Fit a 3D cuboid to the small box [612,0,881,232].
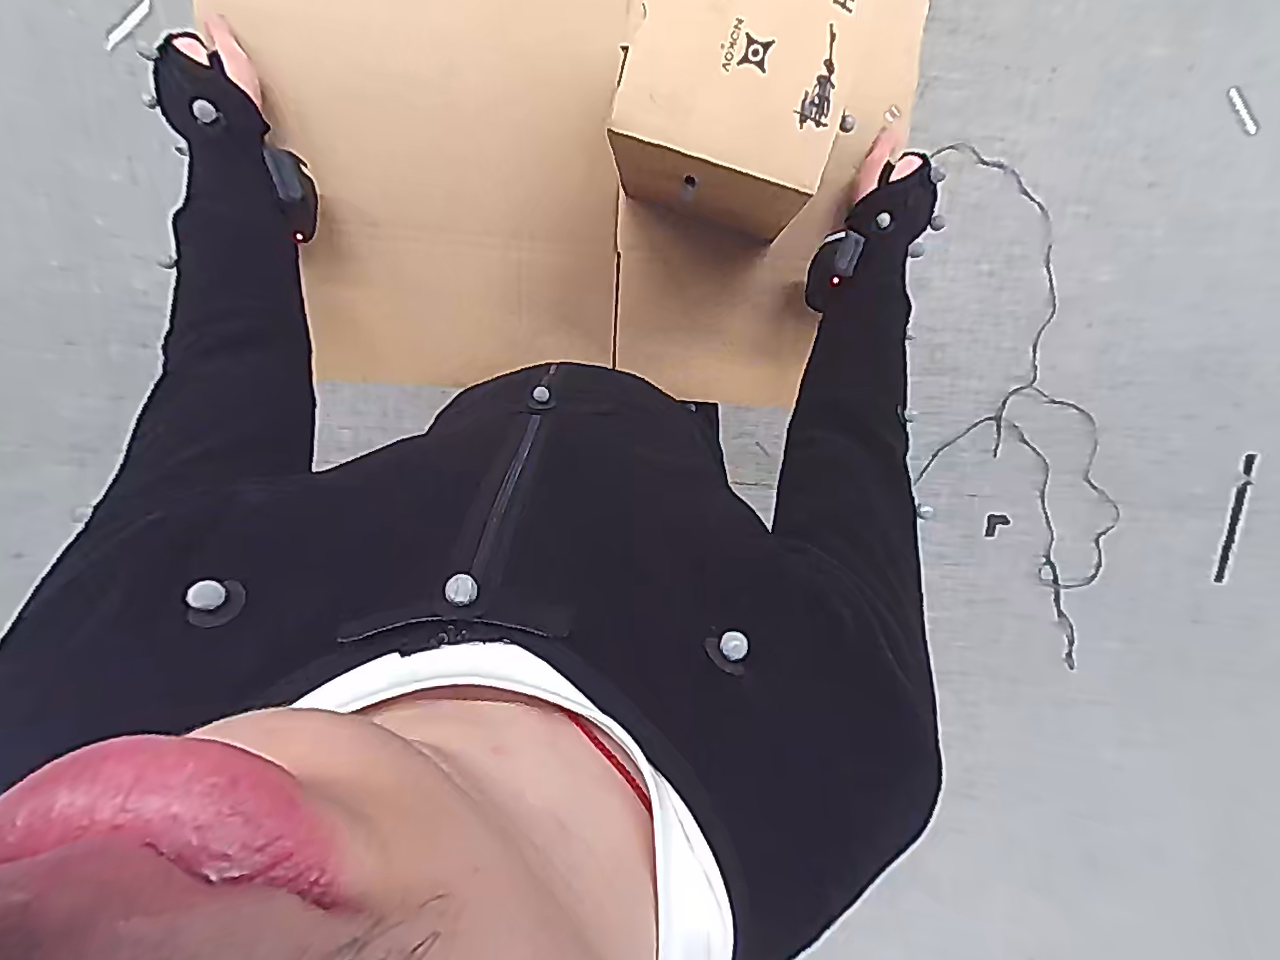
[{"bbox_3d":[0.088,-0.349,0.497,0.179,0.176,0.168,17,103,0],"label":"small box"}]
